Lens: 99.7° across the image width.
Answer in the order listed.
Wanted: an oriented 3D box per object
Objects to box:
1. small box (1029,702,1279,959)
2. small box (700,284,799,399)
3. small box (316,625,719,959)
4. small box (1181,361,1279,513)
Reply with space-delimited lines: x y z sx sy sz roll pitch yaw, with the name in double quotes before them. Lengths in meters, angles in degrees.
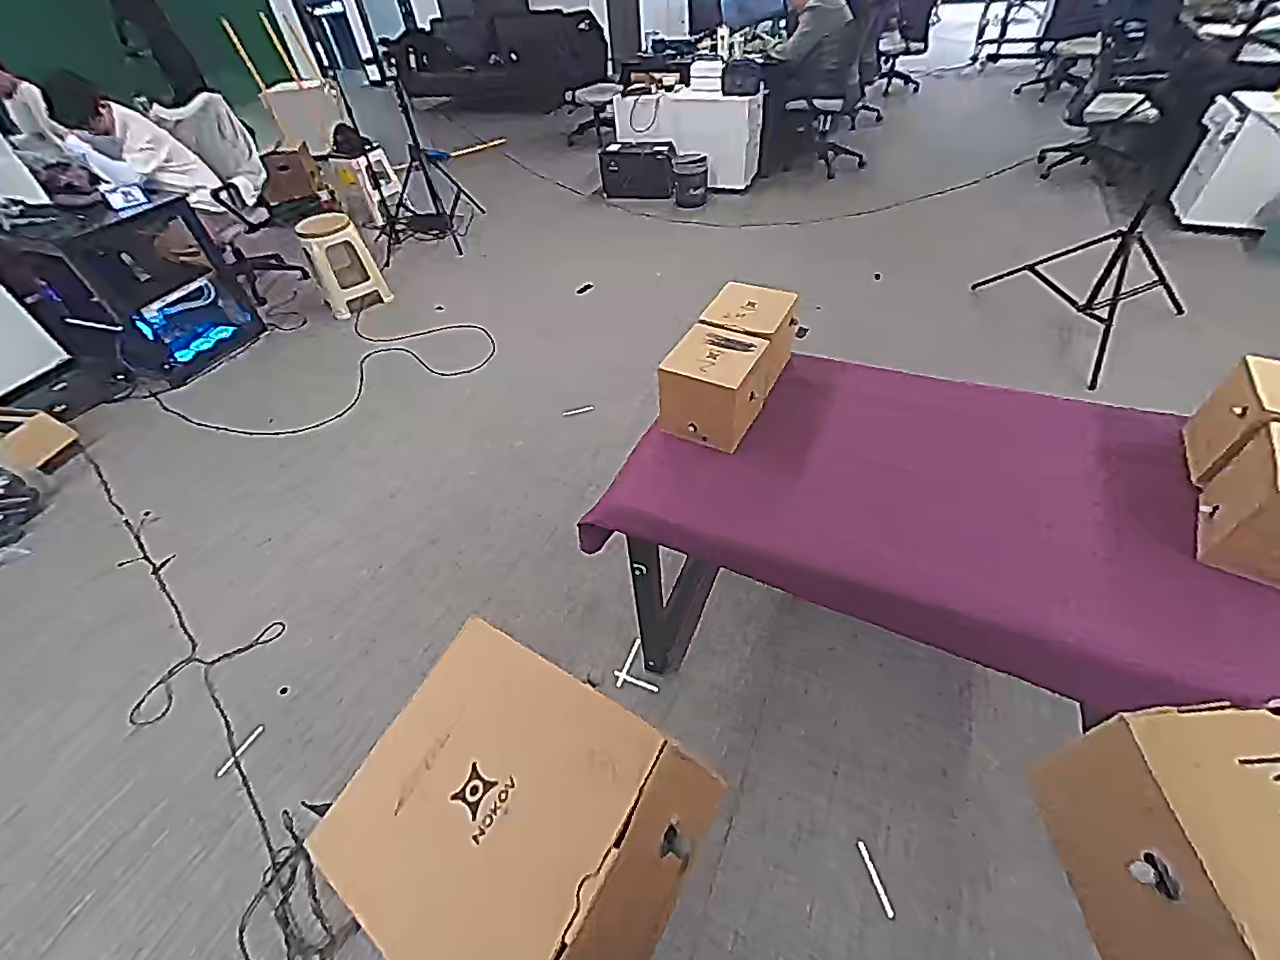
"small box" 0.378 0.245 0.320 0.168 0.176 0.179 -8 51 8
"small box" 0.241 -0.313 1.222 0.168 0.176 0.179 19 52 22
"small box" -0.065 0.234 0.376 0.179 0.176 0.168 17 61 33
"small box" 1.072 -0.070 0.914 0.168 0.176 0.179 20 50 22
